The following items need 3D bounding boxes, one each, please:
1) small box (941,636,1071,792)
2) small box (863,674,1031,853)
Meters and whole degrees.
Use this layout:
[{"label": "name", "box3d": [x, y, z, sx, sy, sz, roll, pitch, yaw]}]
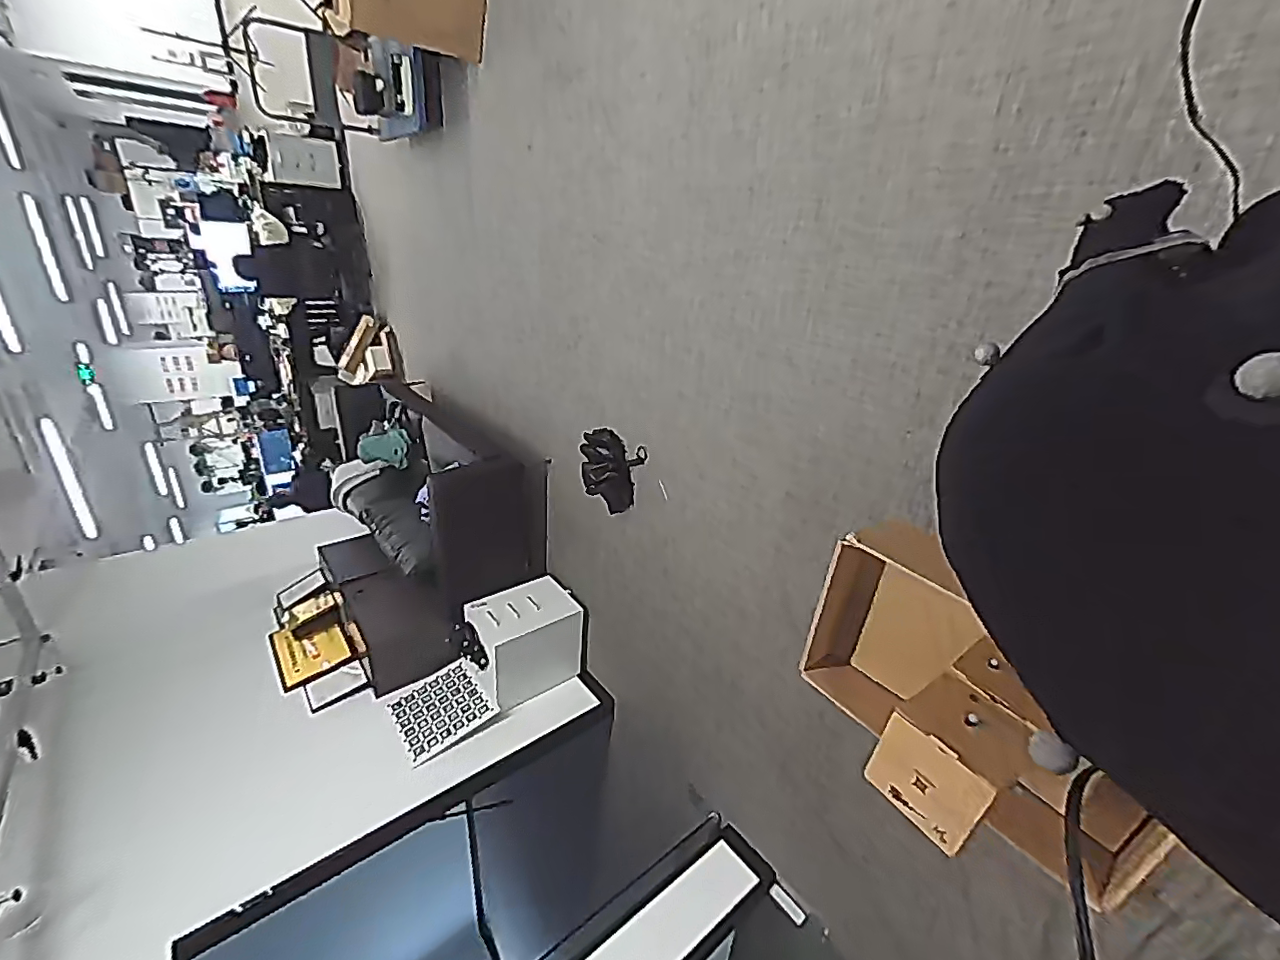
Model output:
[{"label": "small box", "box3d": [0.650, 0.421, 0.997, 0.168, 0.176, 0.179, 38, 132, 43]}, {"label": "small box", "box3d": [0.517, 0.464, 0.911, 0.168, 0.176, 0.179, 38, 130, 43]}]
